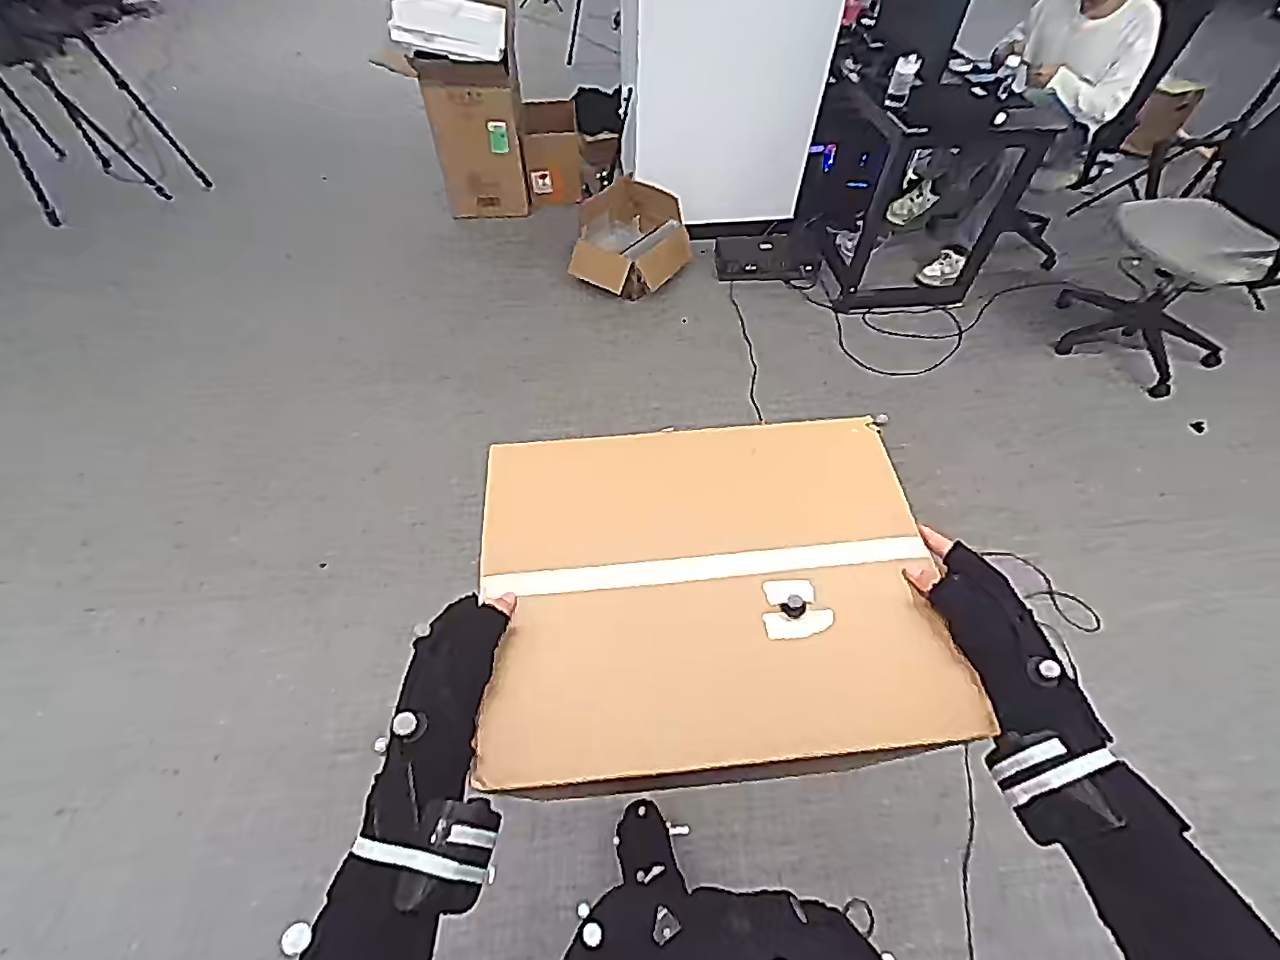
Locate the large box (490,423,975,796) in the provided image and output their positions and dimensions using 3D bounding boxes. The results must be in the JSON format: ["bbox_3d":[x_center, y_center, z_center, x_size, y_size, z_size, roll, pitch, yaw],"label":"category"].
[{"bbox_3d":[0.062,0.162,0.632,0.408,0.320,0.320,-5,58,-3],"label":"large box"}]
